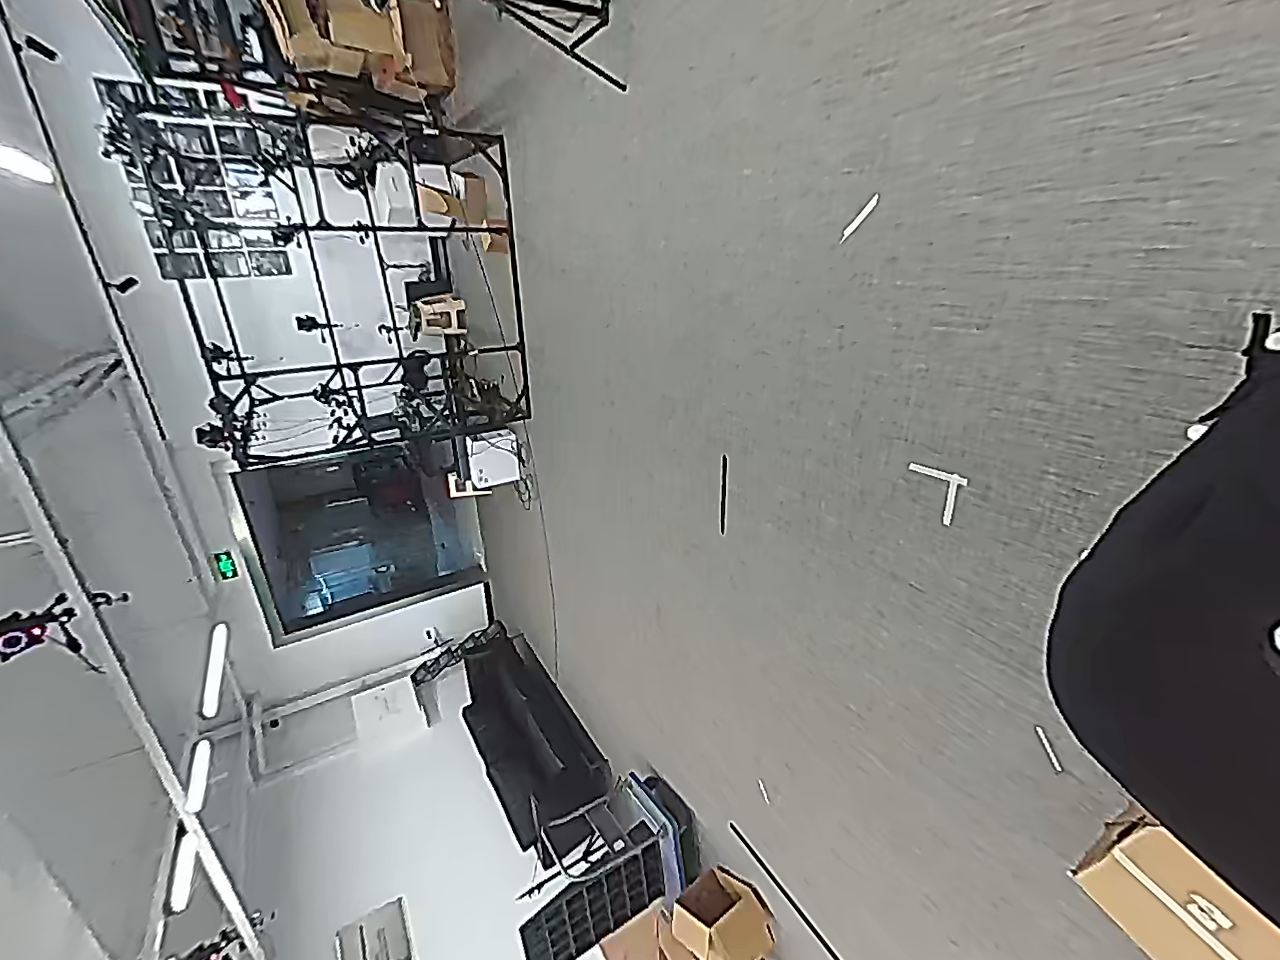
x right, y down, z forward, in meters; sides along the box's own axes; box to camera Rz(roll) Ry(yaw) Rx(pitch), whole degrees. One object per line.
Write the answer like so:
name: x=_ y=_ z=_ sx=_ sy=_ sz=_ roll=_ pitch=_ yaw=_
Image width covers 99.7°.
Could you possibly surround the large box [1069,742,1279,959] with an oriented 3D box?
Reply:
large box: x=1.199 y=0.819 z=1.052 sx=0.408 sy=0.320 sz=0.320 roll=49 pitch=141 yaw=42
